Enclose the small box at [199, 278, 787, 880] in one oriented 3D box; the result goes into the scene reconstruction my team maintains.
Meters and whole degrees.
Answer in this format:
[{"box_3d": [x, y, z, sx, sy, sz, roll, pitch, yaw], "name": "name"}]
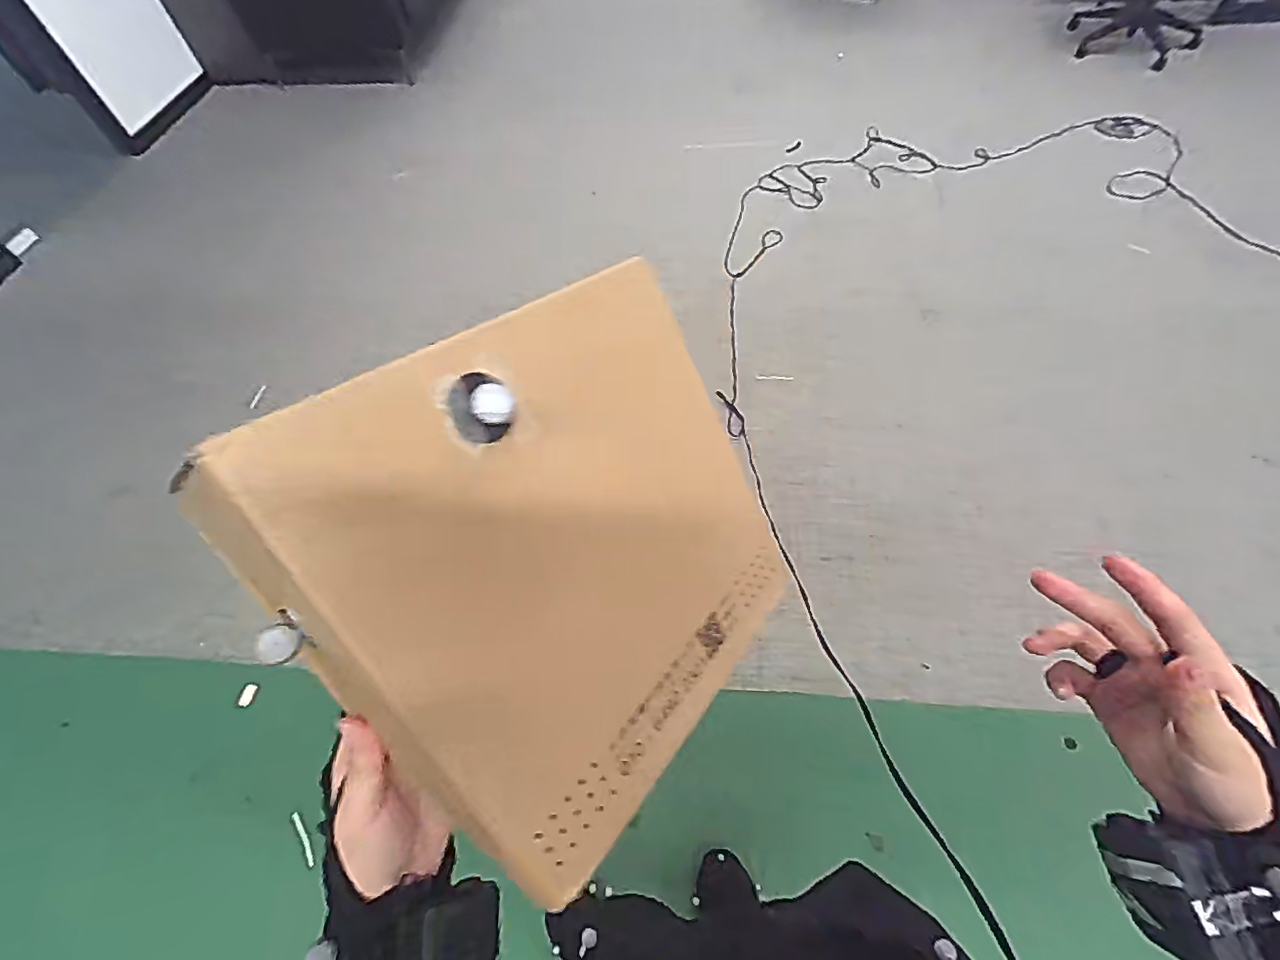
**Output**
[{"box_3d": [-0.063, 0.037, 0.258, 0.179, 0.176, 0.168, -9, 25, 47], "name": "small box"}]
